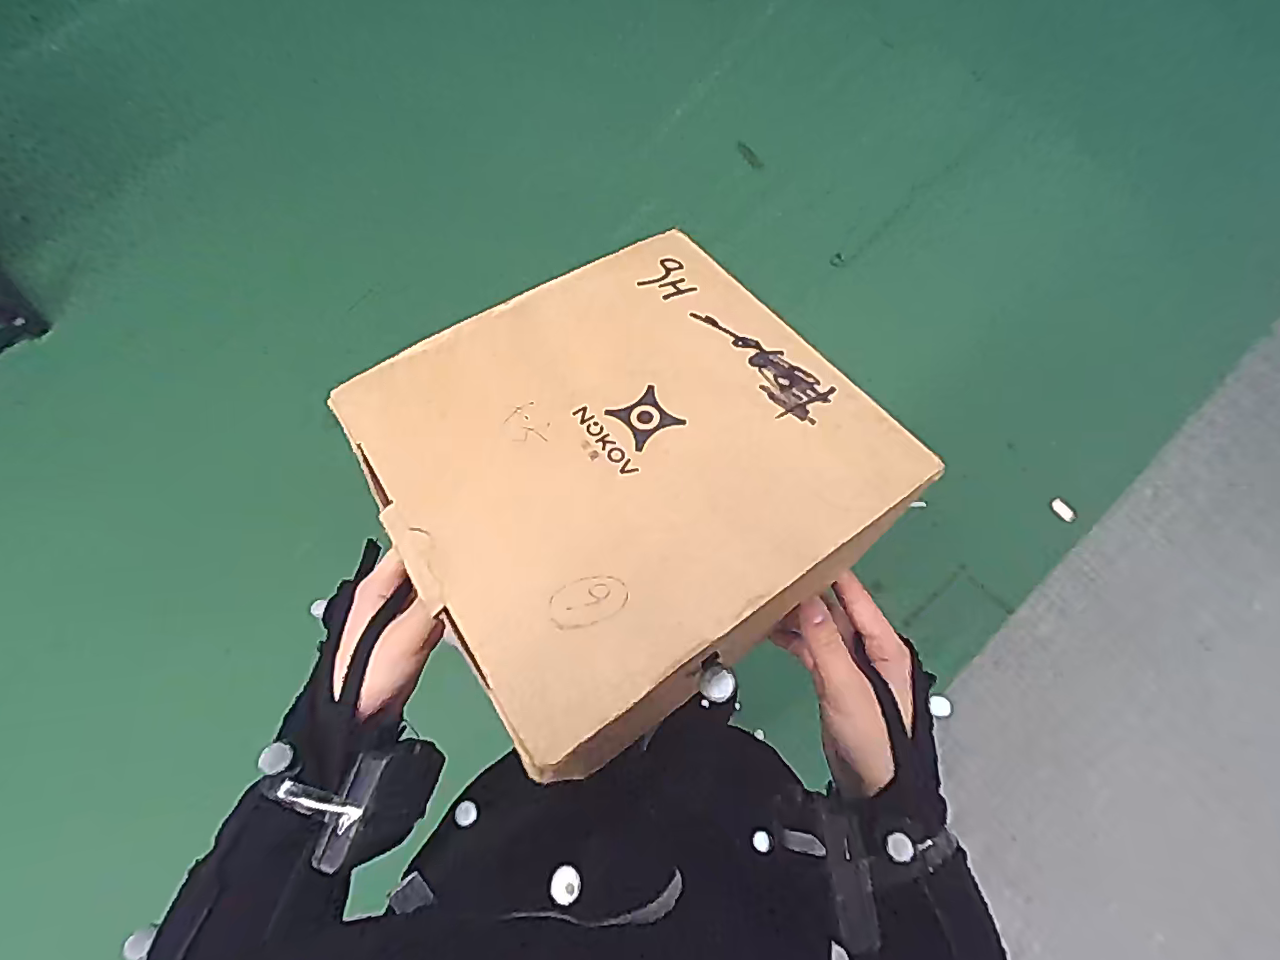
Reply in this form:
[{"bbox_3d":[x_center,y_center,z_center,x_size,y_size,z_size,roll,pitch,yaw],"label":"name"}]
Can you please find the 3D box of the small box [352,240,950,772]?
[{"bbox_3d":[0.000,0.023,0.275,0.179,0.176,0.168,-31,65,-15],"label":"small box"}]
